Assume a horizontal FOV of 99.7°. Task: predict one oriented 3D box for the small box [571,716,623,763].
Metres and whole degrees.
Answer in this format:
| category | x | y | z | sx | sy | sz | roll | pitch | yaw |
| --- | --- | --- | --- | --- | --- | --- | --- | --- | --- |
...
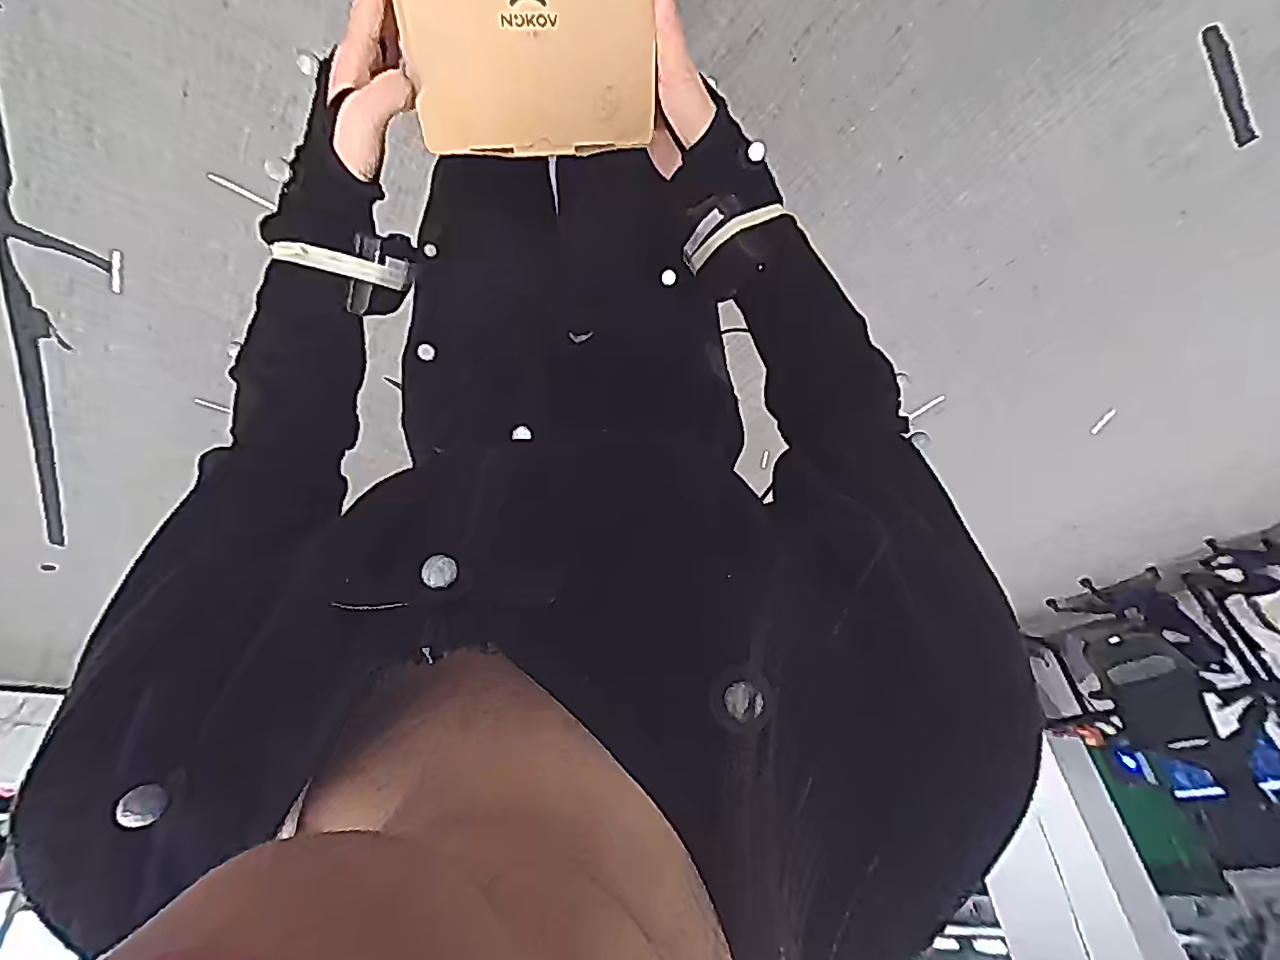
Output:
| category | x | y | z | sx | sy | sz | roll | pitch | yaw |
| --- | --- | --- | --- | --- | --- | --- | --- | --- | --- |
| small box | -0.197 | 1.175 | 2.446 | 0.179 | 0.176 | 0.168 | 19 | 141 | -31 |
